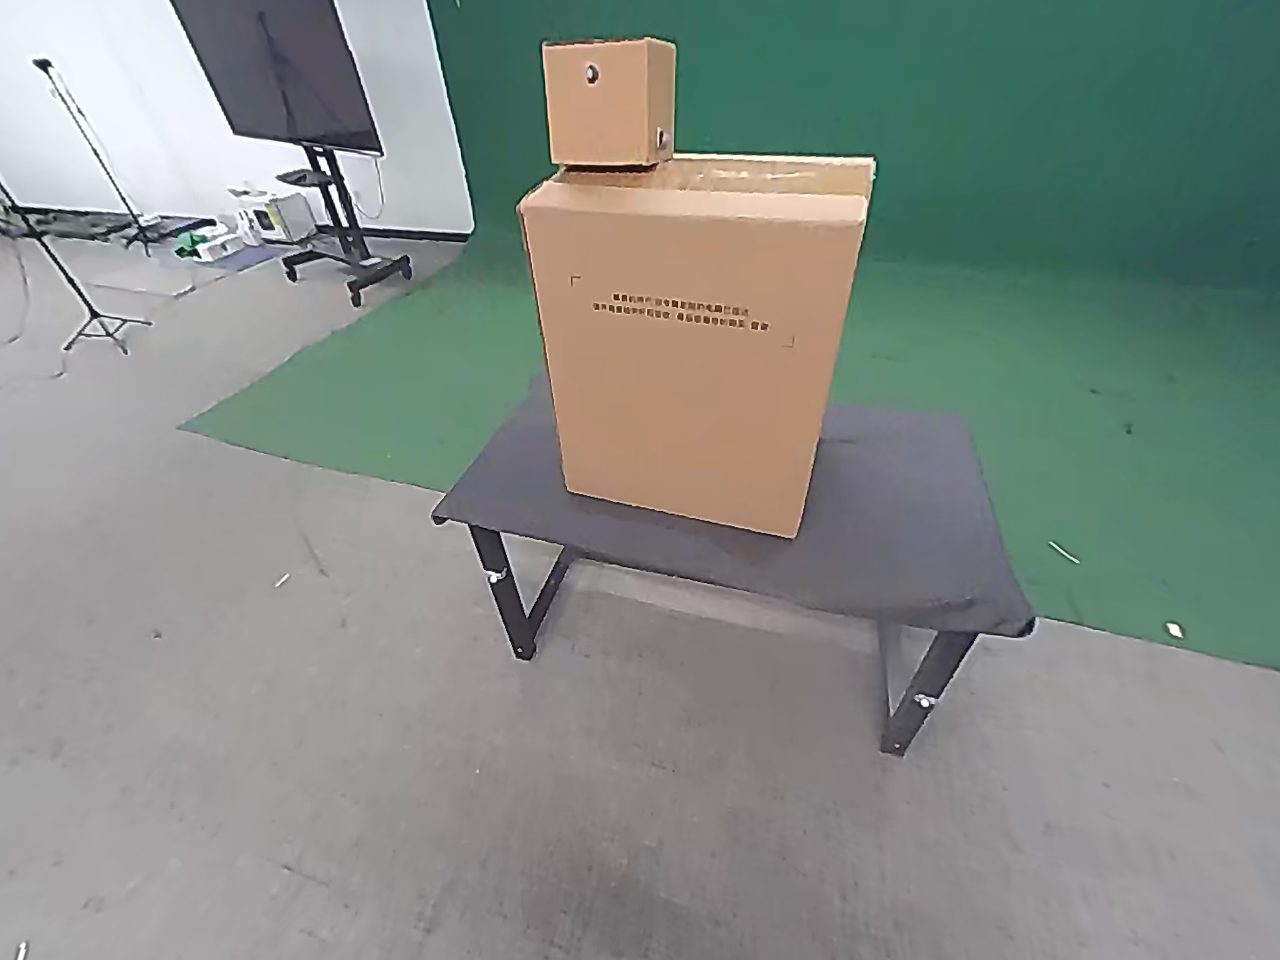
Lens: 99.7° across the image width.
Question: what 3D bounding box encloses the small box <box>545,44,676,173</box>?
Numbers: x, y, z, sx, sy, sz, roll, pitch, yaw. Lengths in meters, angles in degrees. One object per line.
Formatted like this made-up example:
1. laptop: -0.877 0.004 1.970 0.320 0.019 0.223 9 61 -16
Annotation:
1. small box: -0.045 -0.630 0.927 0.179 0.176 0.168 11 36 13
